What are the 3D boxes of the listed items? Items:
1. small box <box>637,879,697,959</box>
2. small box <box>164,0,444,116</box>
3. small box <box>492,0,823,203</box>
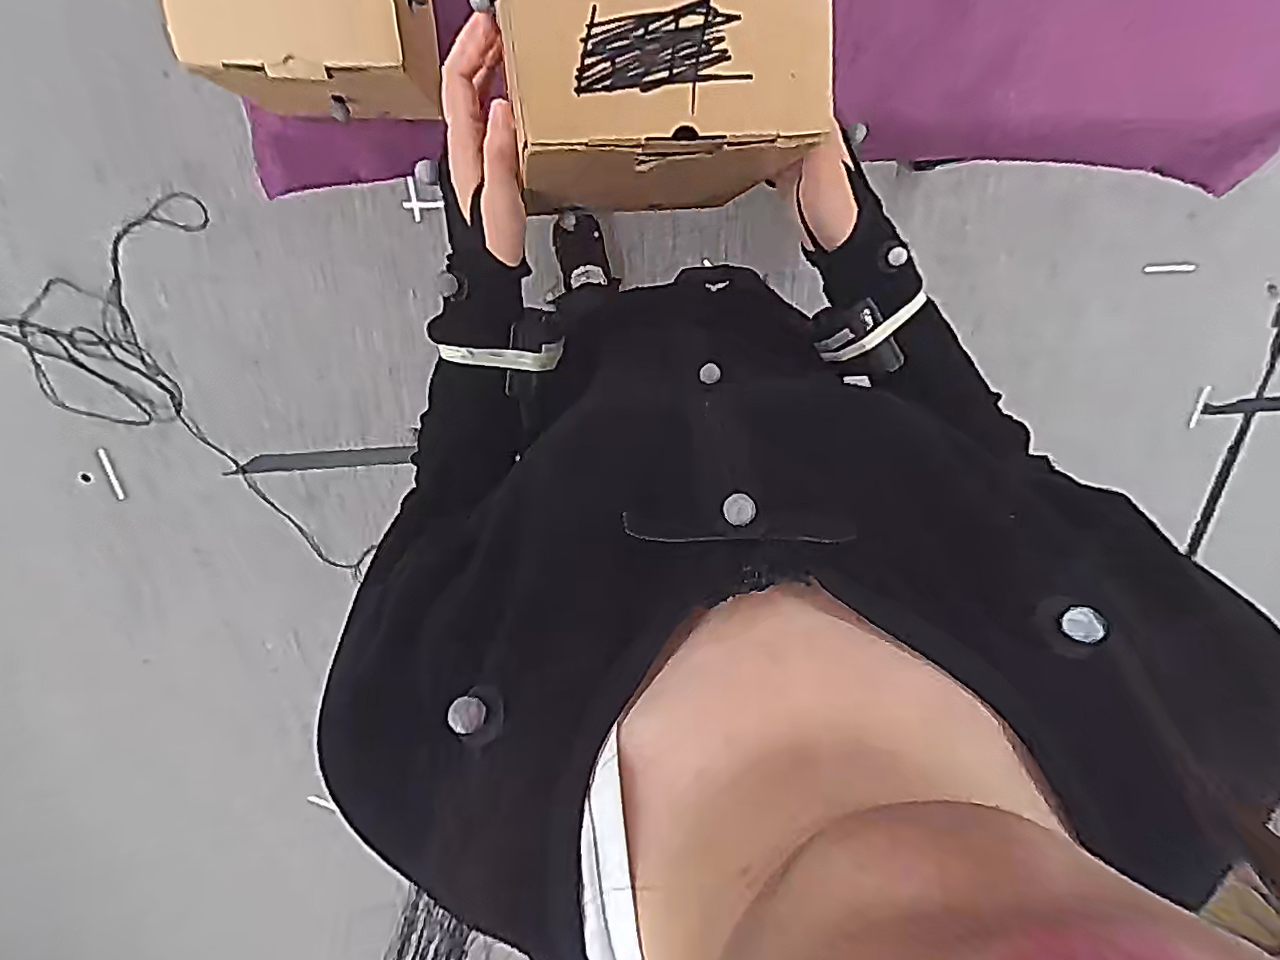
[{"bbox_3d":[0.088,1.471,1.803,0.179,0.176,0.168,-5,113,-4],"label":"small box"},{"bbox_3d":[-0.275,-0.425,0.457,0.168,0.176,0.179,-4,114,-7],"label":"small box"},{"bbox_3d":[-0.004,-0.281,0.333,0.168,0.176,0.179,-8,106,-11],"label":"small box"}]
